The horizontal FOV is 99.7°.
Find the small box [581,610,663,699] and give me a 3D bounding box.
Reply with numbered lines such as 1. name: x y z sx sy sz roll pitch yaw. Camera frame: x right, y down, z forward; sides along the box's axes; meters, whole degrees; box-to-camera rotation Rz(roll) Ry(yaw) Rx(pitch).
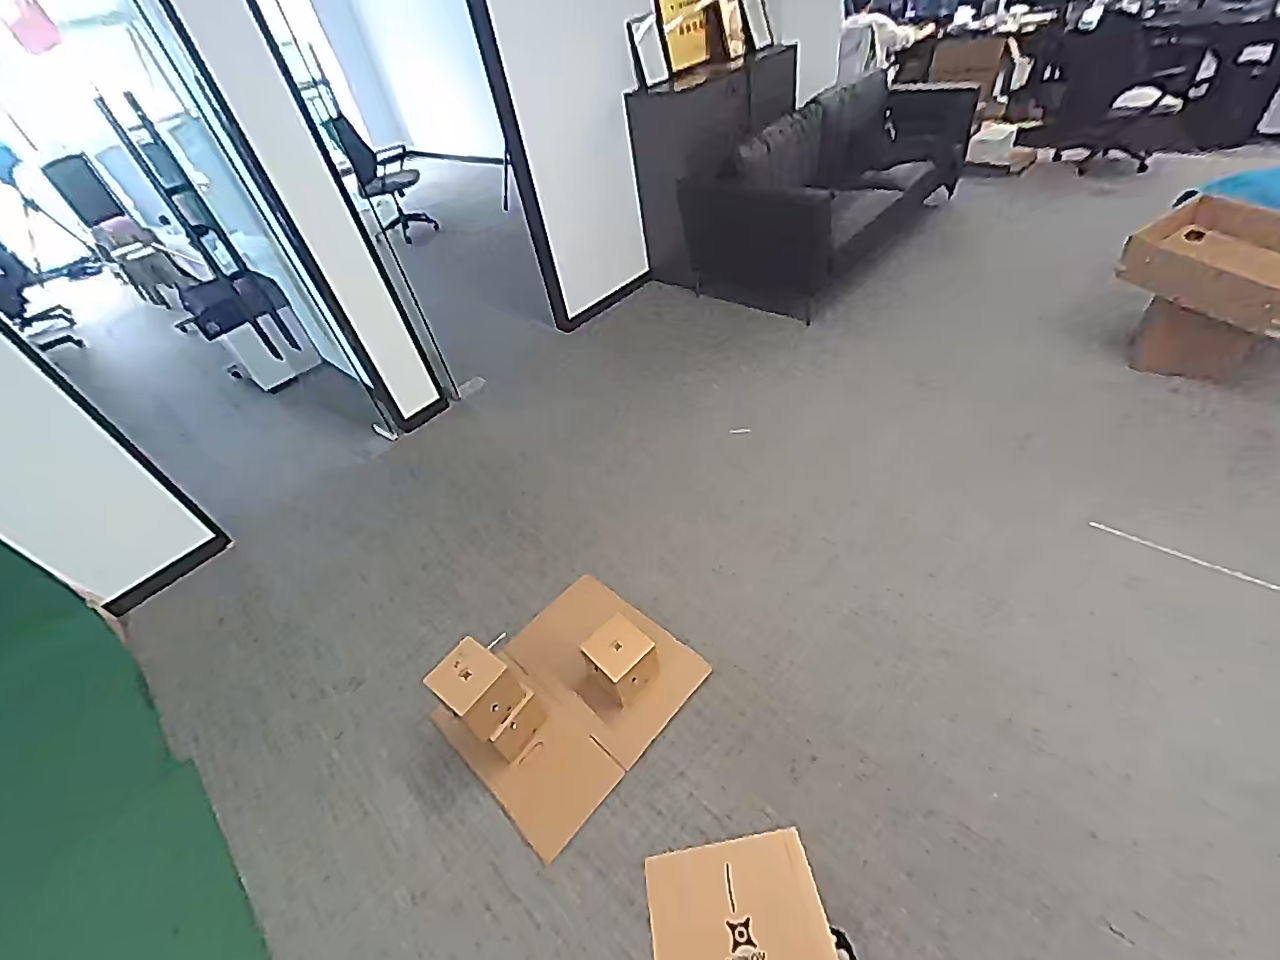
1. small box: -0.050 0.544 1.665 0.168 0.176 0.179 -38 48 -25

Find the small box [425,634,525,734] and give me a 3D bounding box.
1. small box: -0.446 0.567 1.490 0.179 0.176 0.168 23 52 32

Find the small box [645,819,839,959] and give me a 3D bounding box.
1. small box: 0.106 0.481 0.539 0.168 0.176 0.179 -11 33 0

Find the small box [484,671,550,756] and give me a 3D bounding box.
1. small box: -0.397 0.680 1.603 0.179 0.176 0.168 22 53 32
